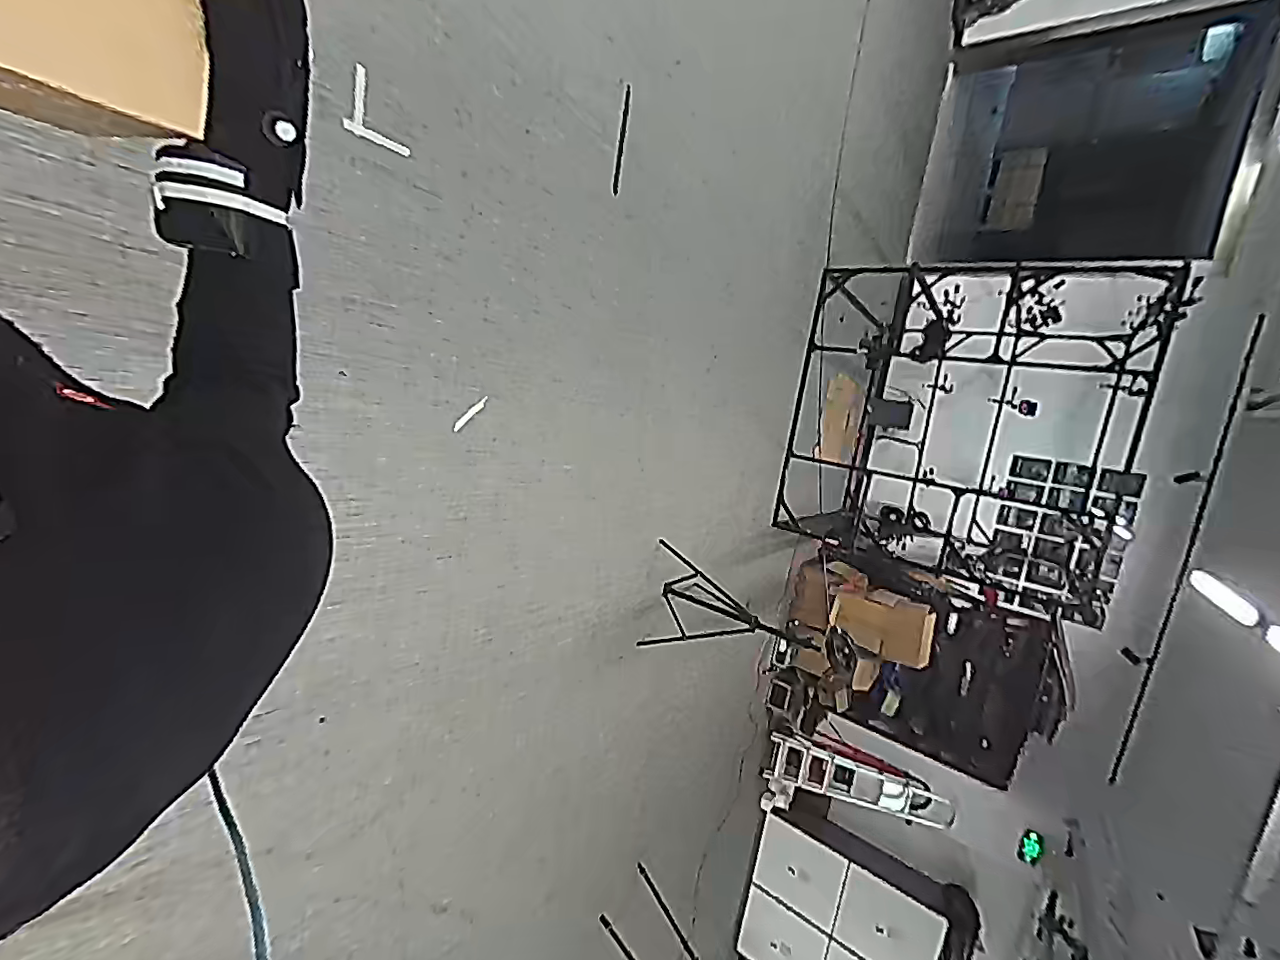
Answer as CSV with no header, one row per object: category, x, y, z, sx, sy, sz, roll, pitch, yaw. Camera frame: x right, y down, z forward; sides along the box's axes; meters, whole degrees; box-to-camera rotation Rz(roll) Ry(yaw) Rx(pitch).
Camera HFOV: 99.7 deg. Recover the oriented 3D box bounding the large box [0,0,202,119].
large box,-0.503,-0.427,0.253,0.408,0.320,0.320,-7,117,-56
